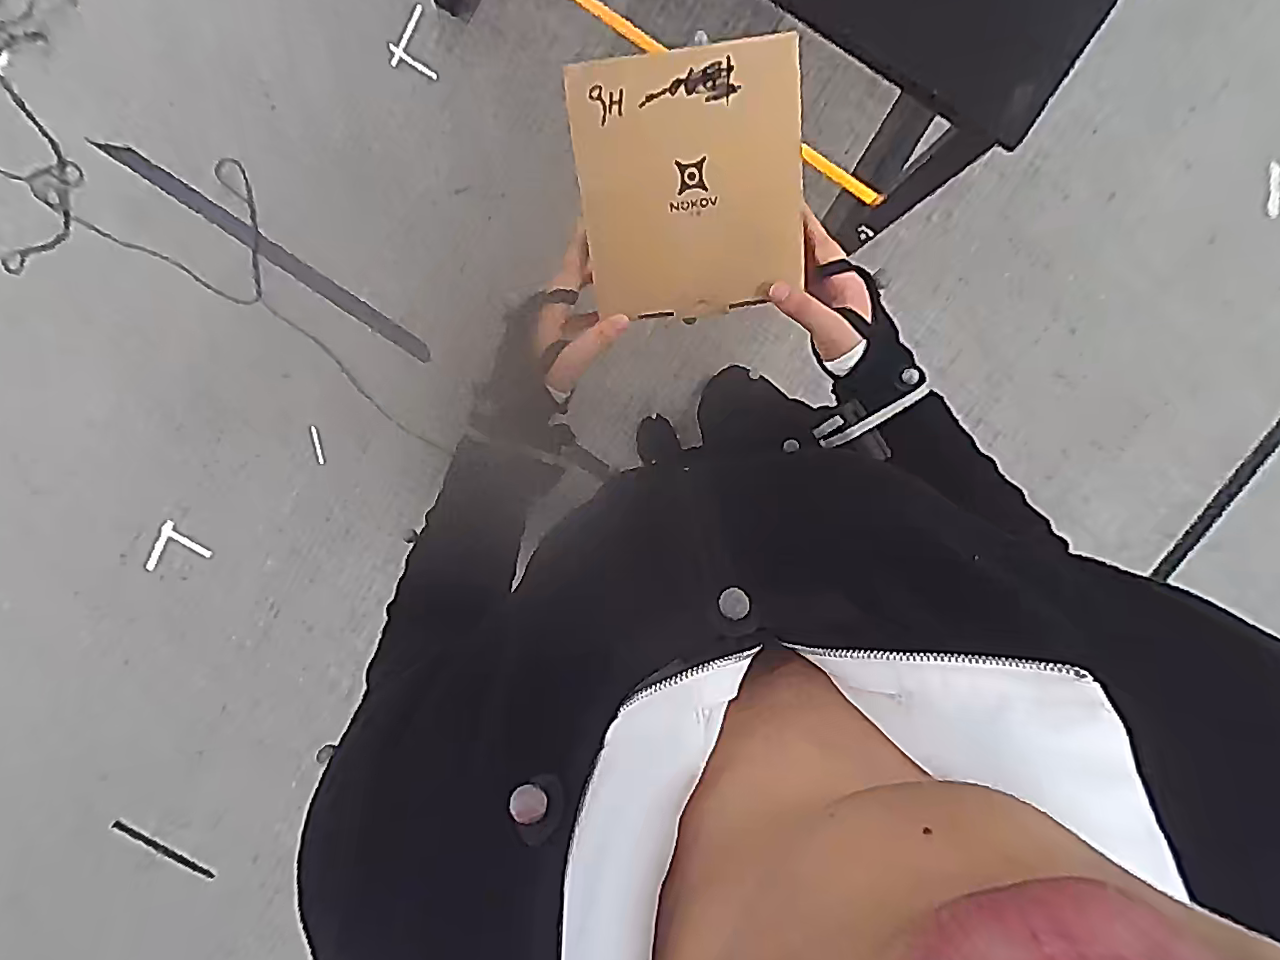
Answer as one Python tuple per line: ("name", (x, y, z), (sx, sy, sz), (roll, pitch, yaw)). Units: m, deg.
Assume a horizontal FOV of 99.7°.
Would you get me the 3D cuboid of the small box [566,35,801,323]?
("small box", (0.038, -0.247, 0.478), (0.168, 0.176, 0.179), (-7, 112, 2))
